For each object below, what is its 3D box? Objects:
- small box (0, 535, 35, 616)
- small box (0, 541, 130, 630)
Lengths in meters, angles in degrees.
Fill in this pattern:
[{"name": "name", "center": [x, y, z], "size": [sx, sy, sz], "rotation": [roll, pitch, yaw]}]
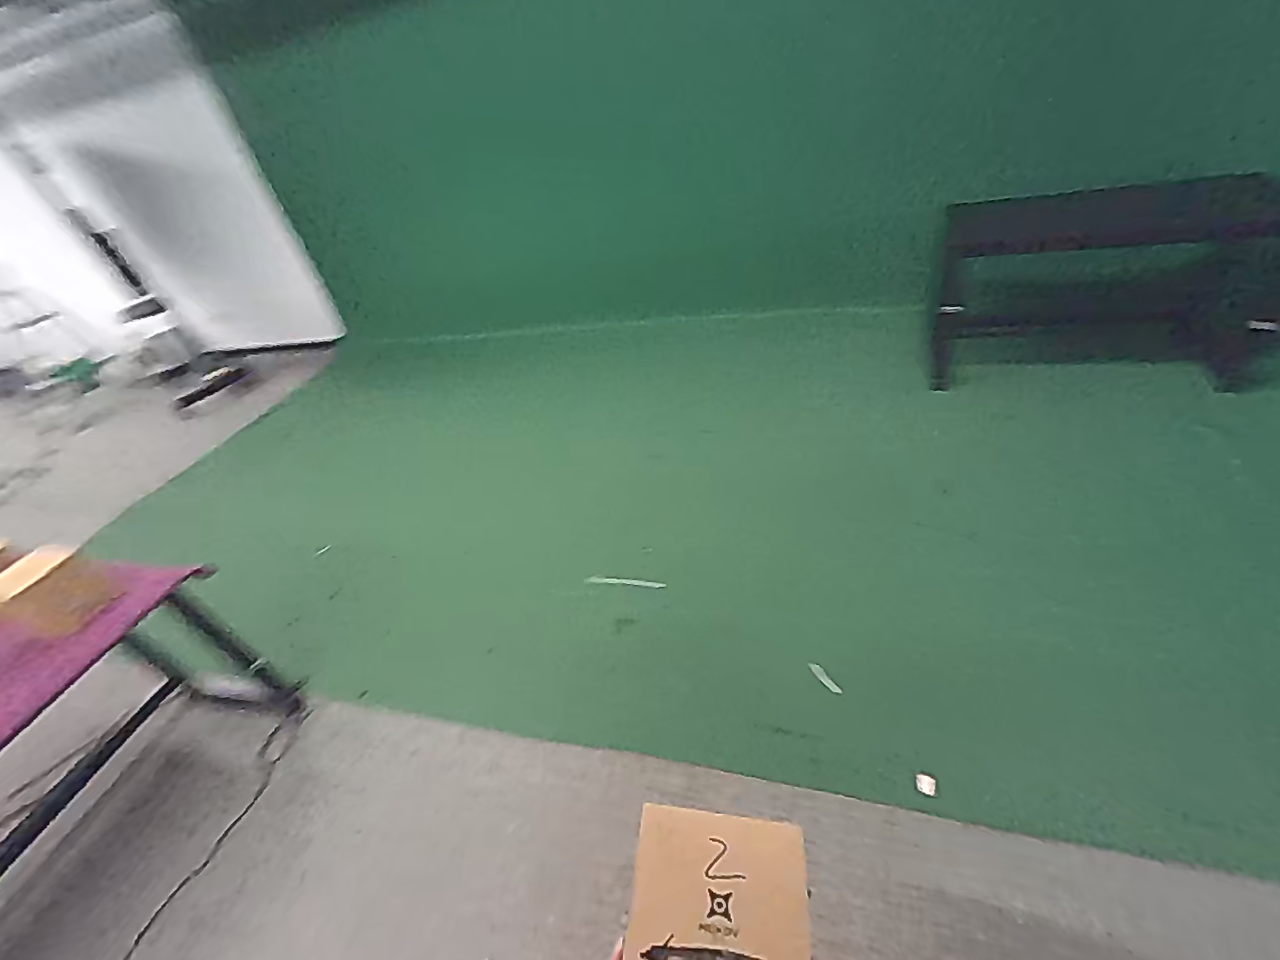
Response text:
[{"name": "small box", "center": [-1.863, 0.273, 1.561], "size": [0.179, 0.176, 0.168], "rotation": [3, 43, 18]}, {"name": "small box", "center": [-1.559, 0.284, 1.458], "size": [0.179, 0.176, 0.168], "rotation": [2, 42, 21]}]
